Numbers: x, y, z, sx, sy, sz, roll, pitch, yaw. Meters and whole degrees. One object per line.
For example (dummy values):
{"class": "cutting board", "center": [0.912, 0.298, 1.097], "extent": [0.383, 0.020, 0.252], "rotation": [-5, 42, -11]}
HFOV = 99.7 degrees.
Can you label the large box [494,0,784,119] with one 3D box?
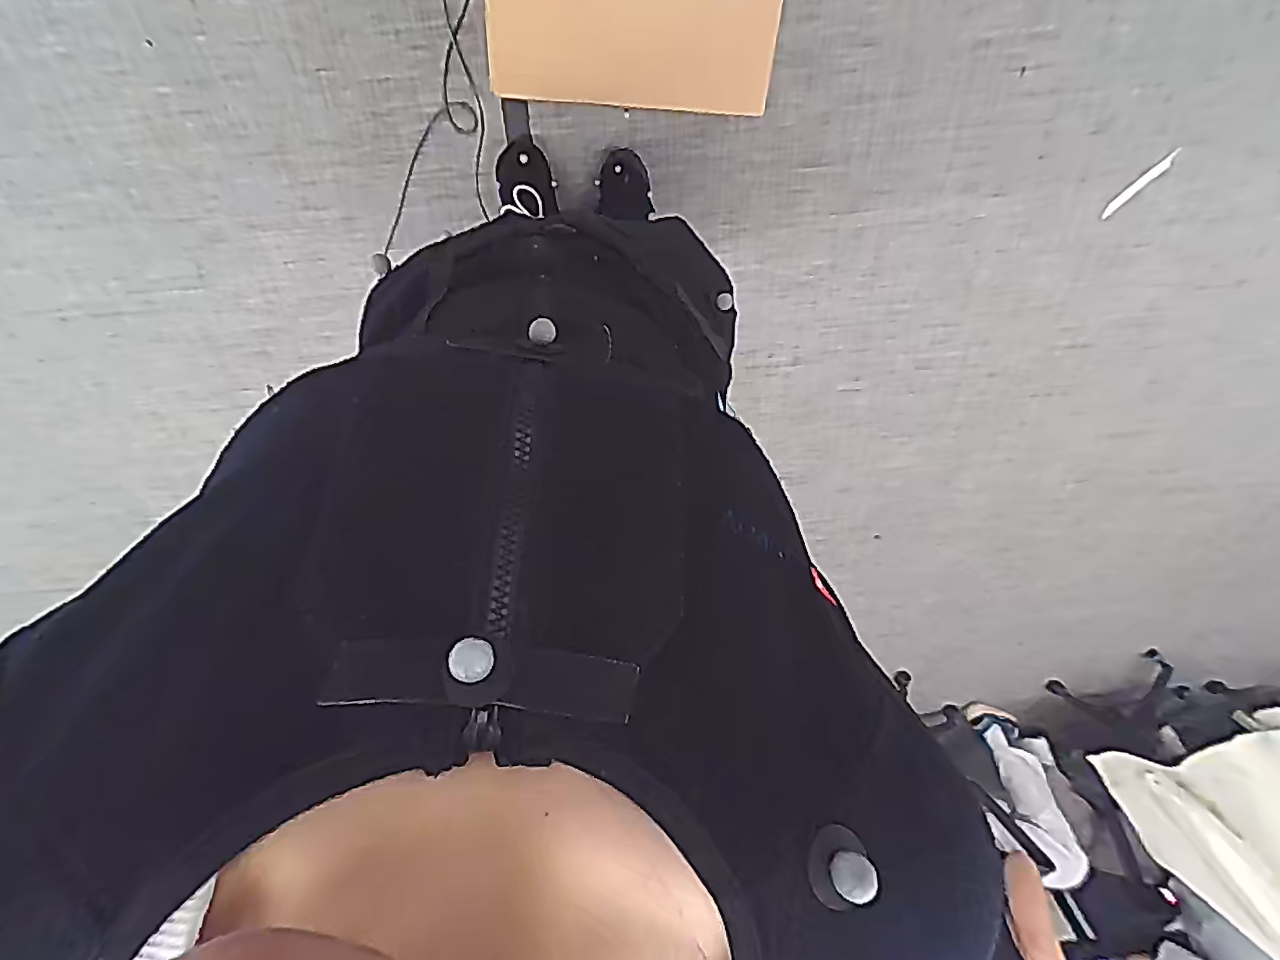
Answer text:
{"class": "large box", "center": [-0.008, -0.760, 0.839], "extent": [0.408, 0.320, 0.320], "rotation": [1, 126, -5]}
